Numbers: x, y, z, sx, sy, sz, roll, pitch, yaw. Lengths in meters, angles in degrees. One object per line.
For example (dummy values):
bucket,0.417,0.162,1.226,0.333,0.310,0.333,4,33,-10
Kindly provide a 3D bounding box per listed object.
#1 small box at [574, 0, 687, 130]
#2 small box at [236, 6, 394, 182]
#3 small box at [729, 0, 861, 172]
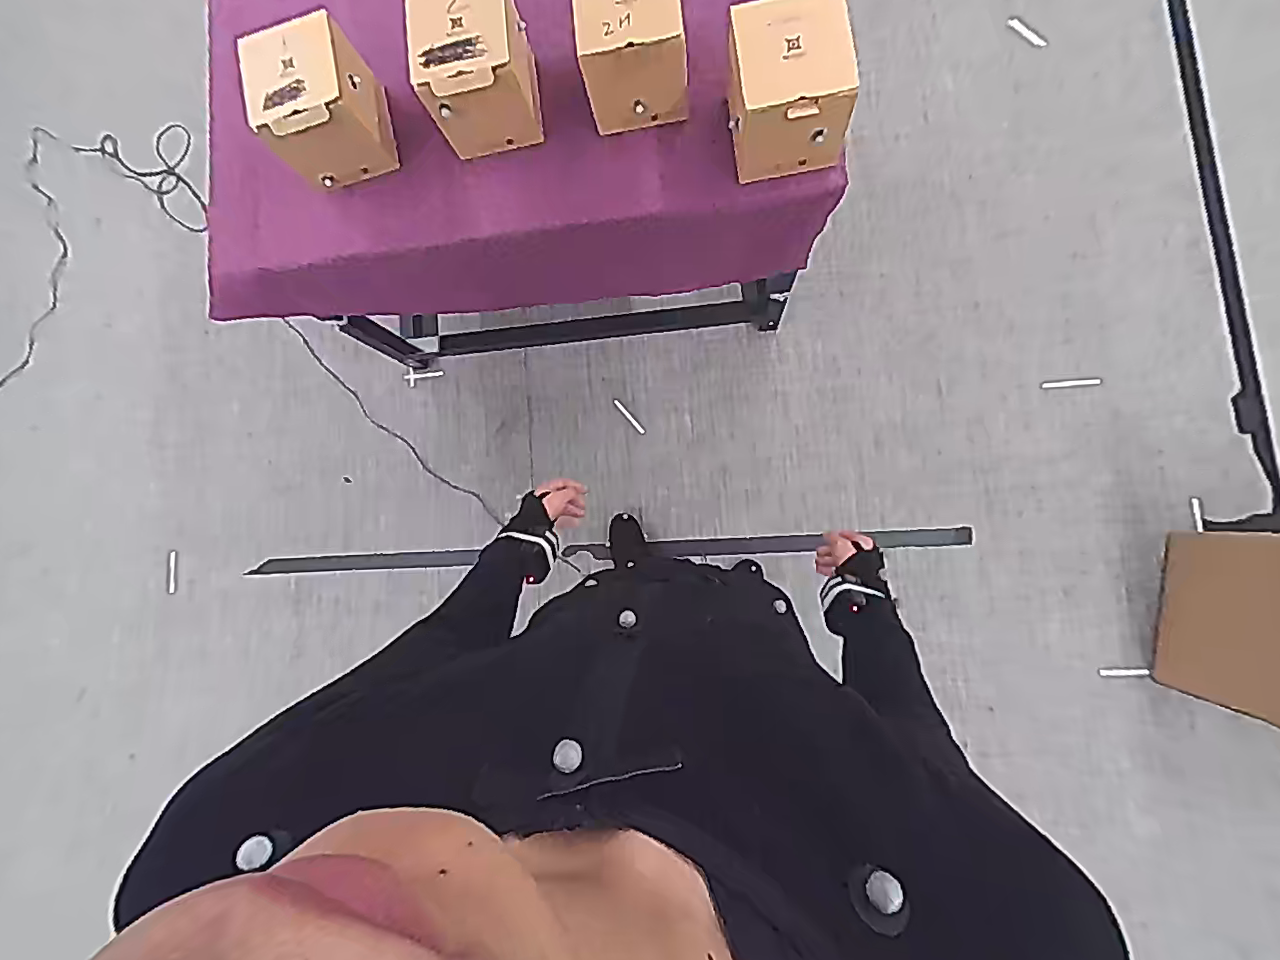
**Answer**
small box,-0.012,-0.729,0.894,0.168,0.176,0.179,-6,85,7
small box,-0.563,-0.663,0.957,0.168,0.176,0.179,-14,83,5
small box,0.234,-0.619,0.855,0.168,0.176,0.179,-7,84,6
